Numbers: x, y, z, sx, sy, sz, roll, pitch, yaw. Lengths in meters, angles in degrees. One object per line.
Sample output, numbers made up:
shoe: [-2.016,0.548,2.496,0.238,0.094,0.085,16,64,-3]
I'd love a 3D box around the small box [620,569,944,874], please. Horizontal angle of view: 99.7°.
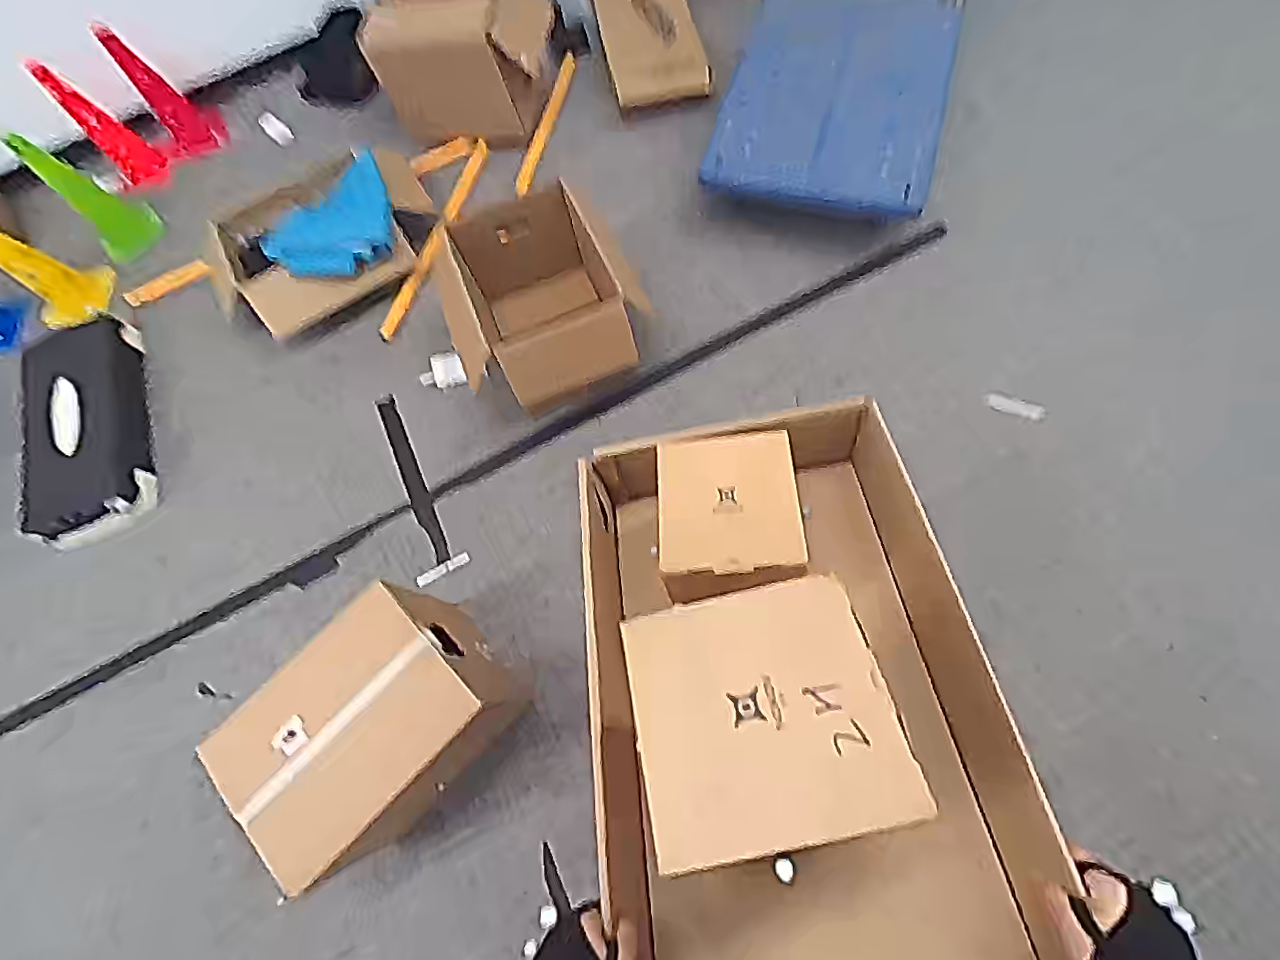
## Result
small box: [0.094,0.194,0.423,0.179,0.176,0.168,-13,55,3]

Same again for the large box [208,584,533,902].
large box: [-0.486,0.471,1.057,0.320,0.320,0.408,41,80,19]
